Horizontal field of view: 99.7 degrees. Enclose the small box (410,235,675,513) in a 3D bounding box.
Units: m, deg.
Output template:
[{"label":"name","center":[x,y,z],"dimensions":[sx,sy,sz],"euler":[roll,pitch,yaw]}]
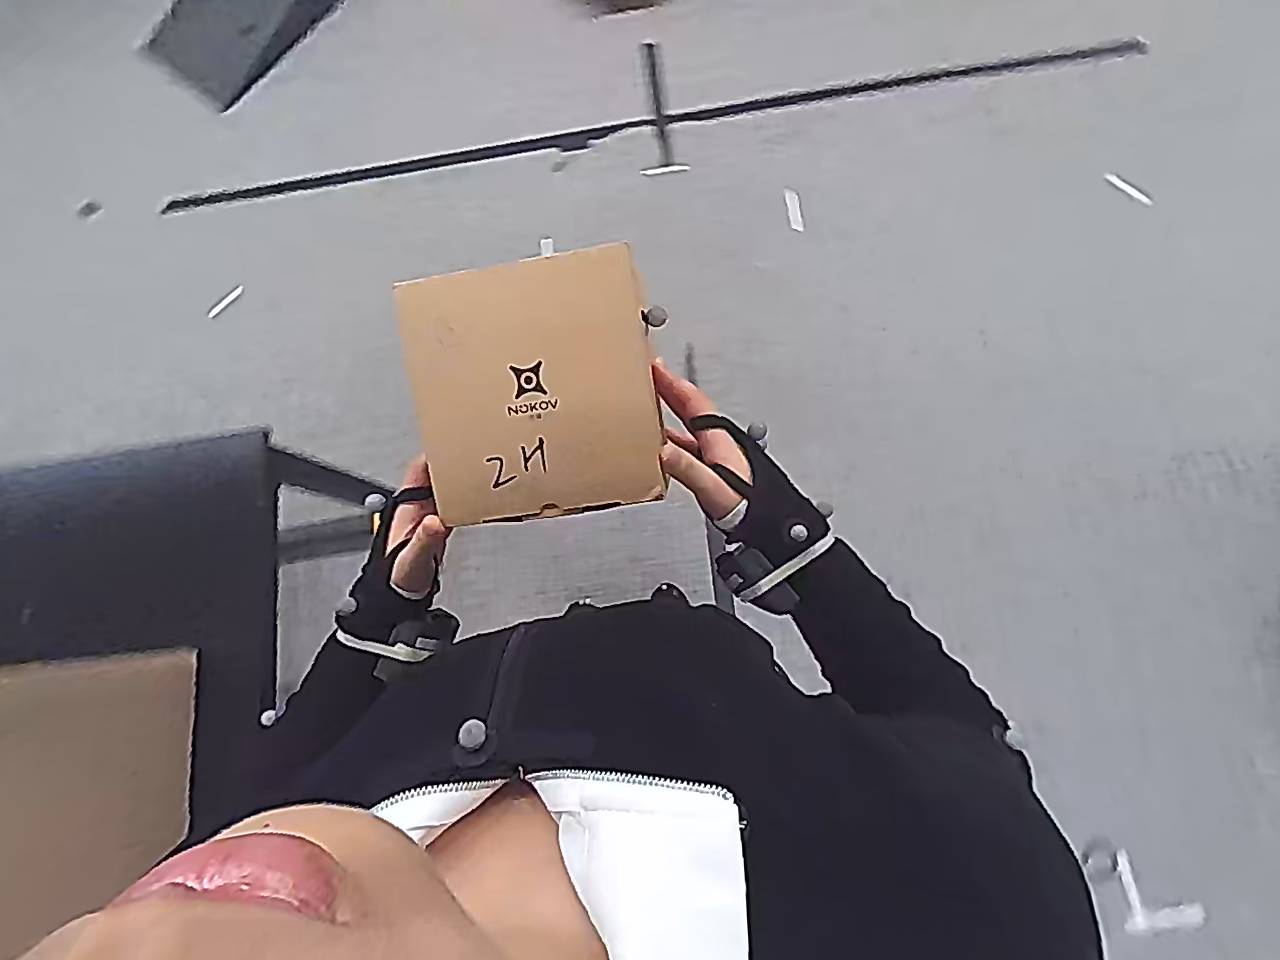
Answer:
[{"label":"small box","center":[-0.061,-0.079,0.449],"dimensions":[0.168,0.176,0.179],"euler":[-6,98,7]}]
